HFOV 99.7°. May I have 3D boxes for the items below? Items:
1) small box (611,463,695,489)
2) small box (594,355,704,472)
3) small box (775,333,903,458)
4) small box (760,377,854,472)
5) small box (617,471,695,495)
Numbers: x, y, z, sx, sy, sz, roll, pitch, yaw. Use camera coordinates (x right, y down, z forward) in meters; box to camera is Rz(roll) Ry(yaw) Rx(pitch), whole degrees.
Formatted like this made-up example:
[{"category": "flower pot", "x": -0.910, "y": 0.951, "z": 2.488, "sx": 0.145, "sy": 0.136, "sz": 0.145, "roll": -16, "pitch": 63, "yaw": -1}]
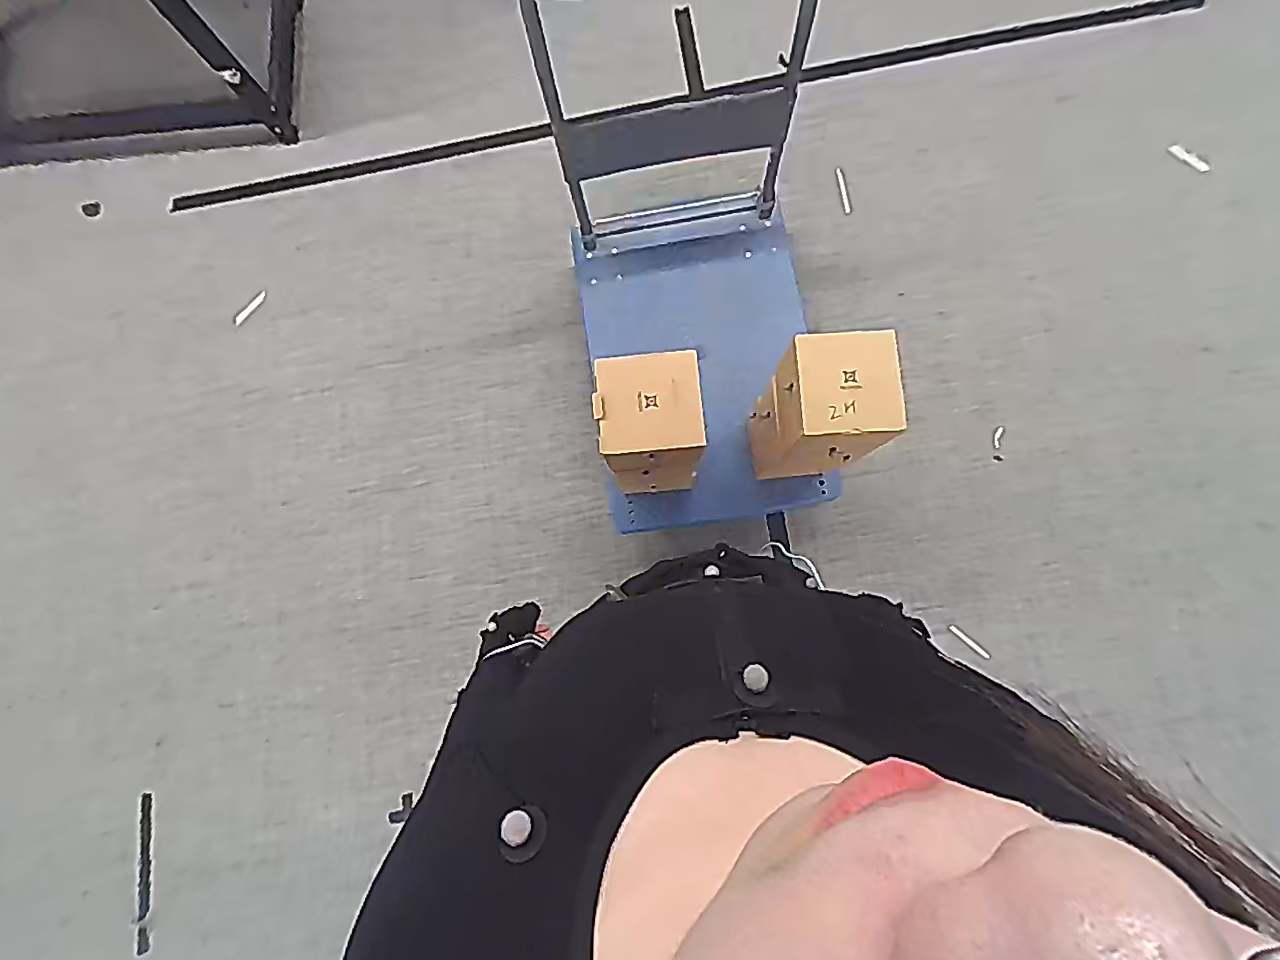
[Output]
[{"category": "small box", "x": 0.020, "y": -0.087, "z": 1.135, "sx": 0.168, "sy": 0.176, "sz": 0.179, "roll": -8, "pitch": 80, "yaw": 2}, {"category": "small box", "x": 0.019, "y": -0.112, "z": 0.973, "sx": 0.179, "sy": 0.176, "sz": 0.168, "roll": -5, "pitch": 82, "yaw": 2}, {"category": "small box", "x": 0.342, "y": -0.143, "z": 0.961, "sx": 0.168, "sy": 0.176, "sz": 0.179, "roll": -2, "pitch": 81, "yaw": 2}, {"category": "small box", "x": 0.350, "y": -0.114, "z": 1.123, "sx": 0.179, "sy": 0.176, "sz": 0.168, "roll": -4, "pitch": 81, "yaw": 1}, {"category": "small box", "x": 0.034, "y": -0.060, "z": 1.297, "sx": 0.179, "sy": 0.176, "sz": 0.168, "roll": -5, "pitch": 80, "yaw": 3}]
